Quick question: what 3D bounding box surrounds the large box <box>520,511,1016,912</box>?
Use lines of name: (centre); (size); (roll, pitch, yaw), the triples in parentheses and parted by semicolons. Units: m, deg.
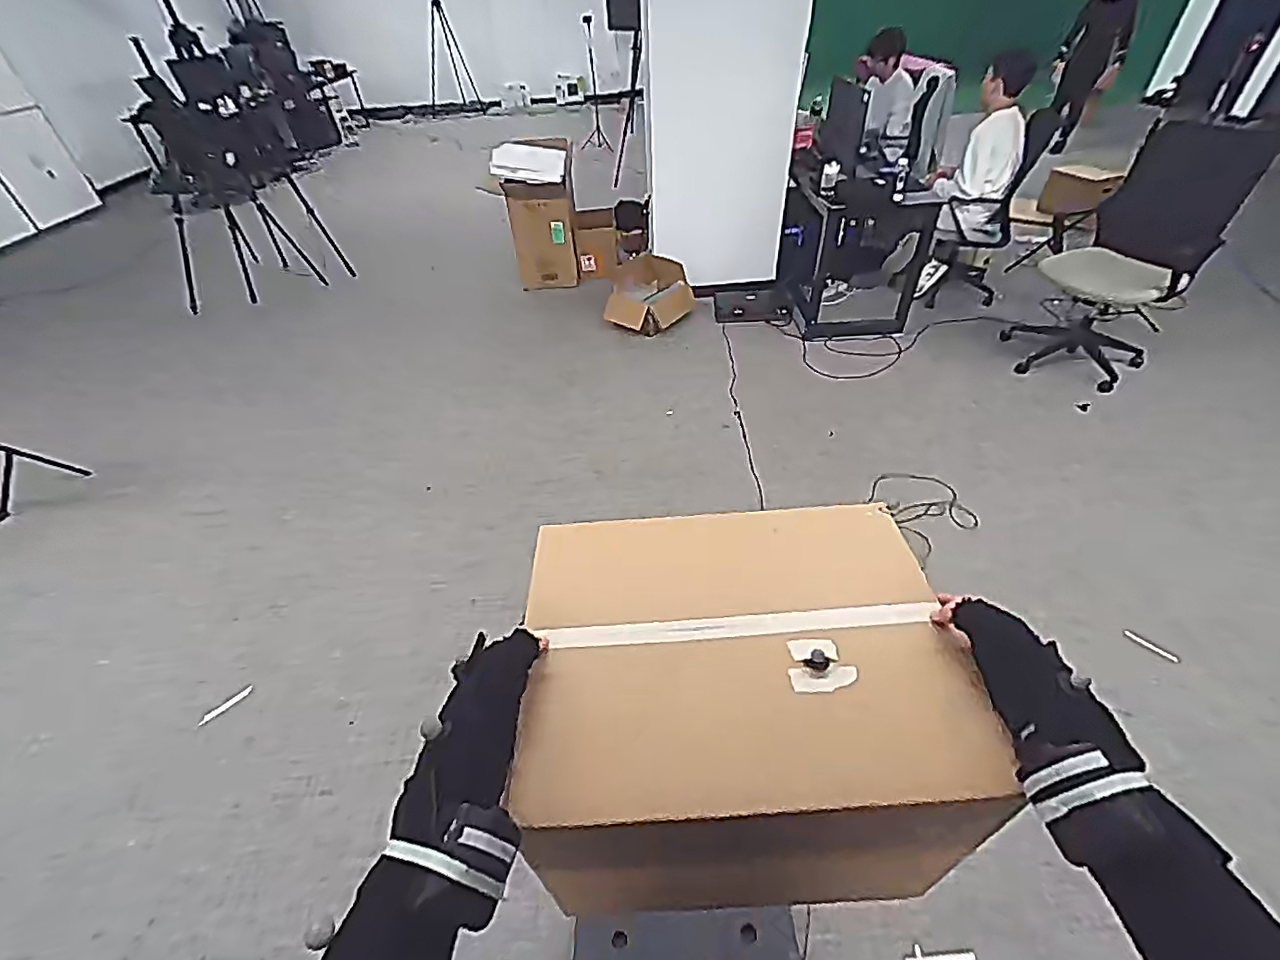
large box: (0.101, 0.264, 0.631); (0.408, 0.320, 0.320); (-4, 41, 0)
